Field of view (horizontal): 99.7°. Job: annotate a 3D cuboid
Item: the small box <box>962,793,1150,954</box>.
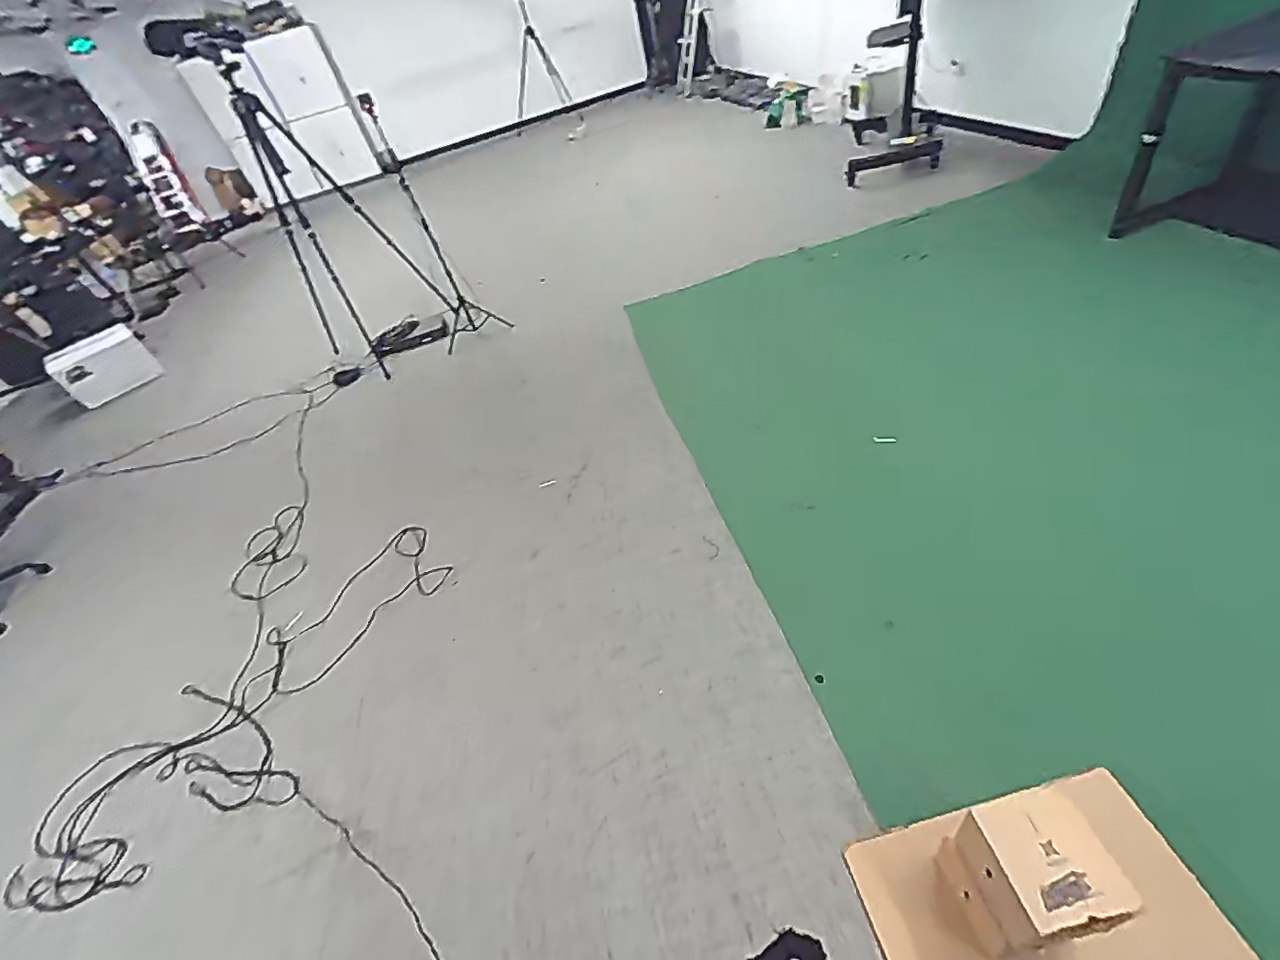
[{"bbox_3d":[0.675,0.663,0.905,0.168,0.176,0.179,-15,40,2],"label":"small box"}]
